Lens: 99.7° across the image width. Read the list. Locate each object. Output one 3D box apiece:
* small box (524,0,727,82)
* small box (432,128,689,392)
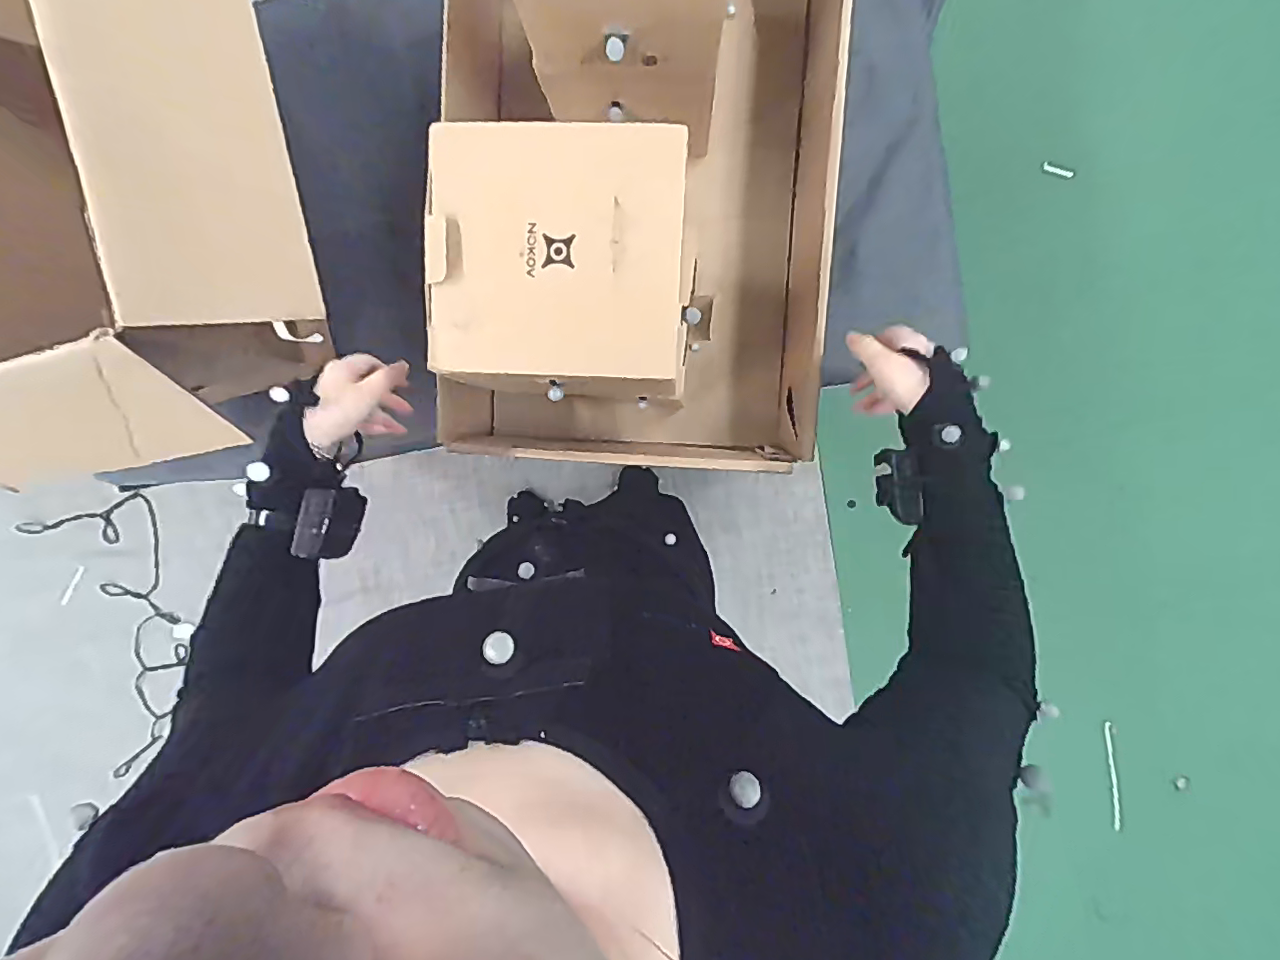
[{"bbox_3d":[-0.010,-0.451,0.413,0.168,0.176,0.179,3,98,3],"label":"small box"},{"bbox_3d":[-0.052,-0.162,0.450,0.179,0.176,0.168,2,97,3],"label":"small box"}]
